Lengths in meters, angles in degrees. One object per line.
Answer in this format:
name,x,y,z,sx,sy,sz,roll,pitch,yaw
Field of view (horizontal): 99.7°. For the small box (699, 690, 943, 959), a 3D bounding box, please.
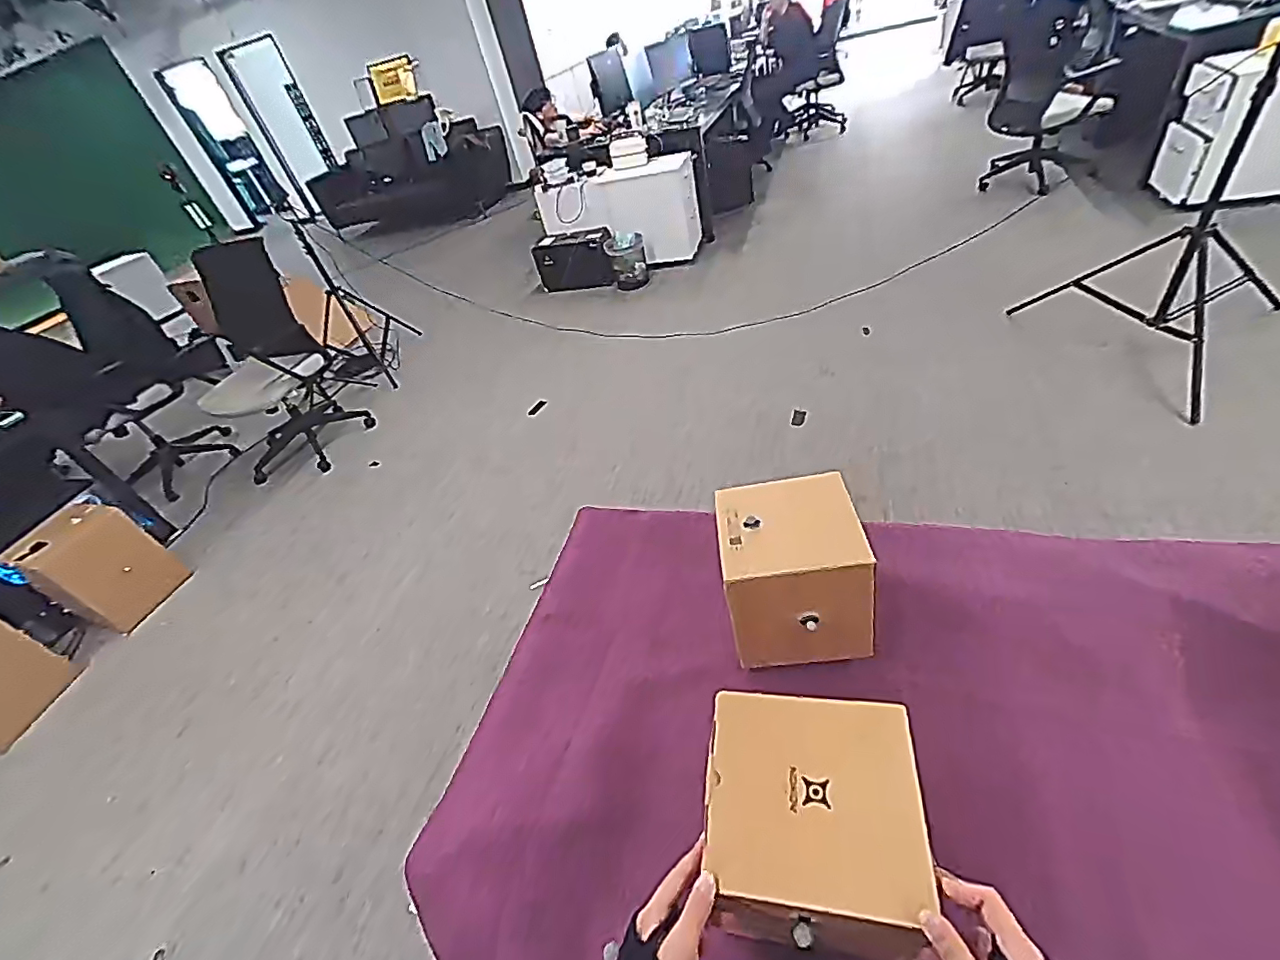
small box,0.161,0.321,0.509,0.179,0.176,0.168,-2,42,16
